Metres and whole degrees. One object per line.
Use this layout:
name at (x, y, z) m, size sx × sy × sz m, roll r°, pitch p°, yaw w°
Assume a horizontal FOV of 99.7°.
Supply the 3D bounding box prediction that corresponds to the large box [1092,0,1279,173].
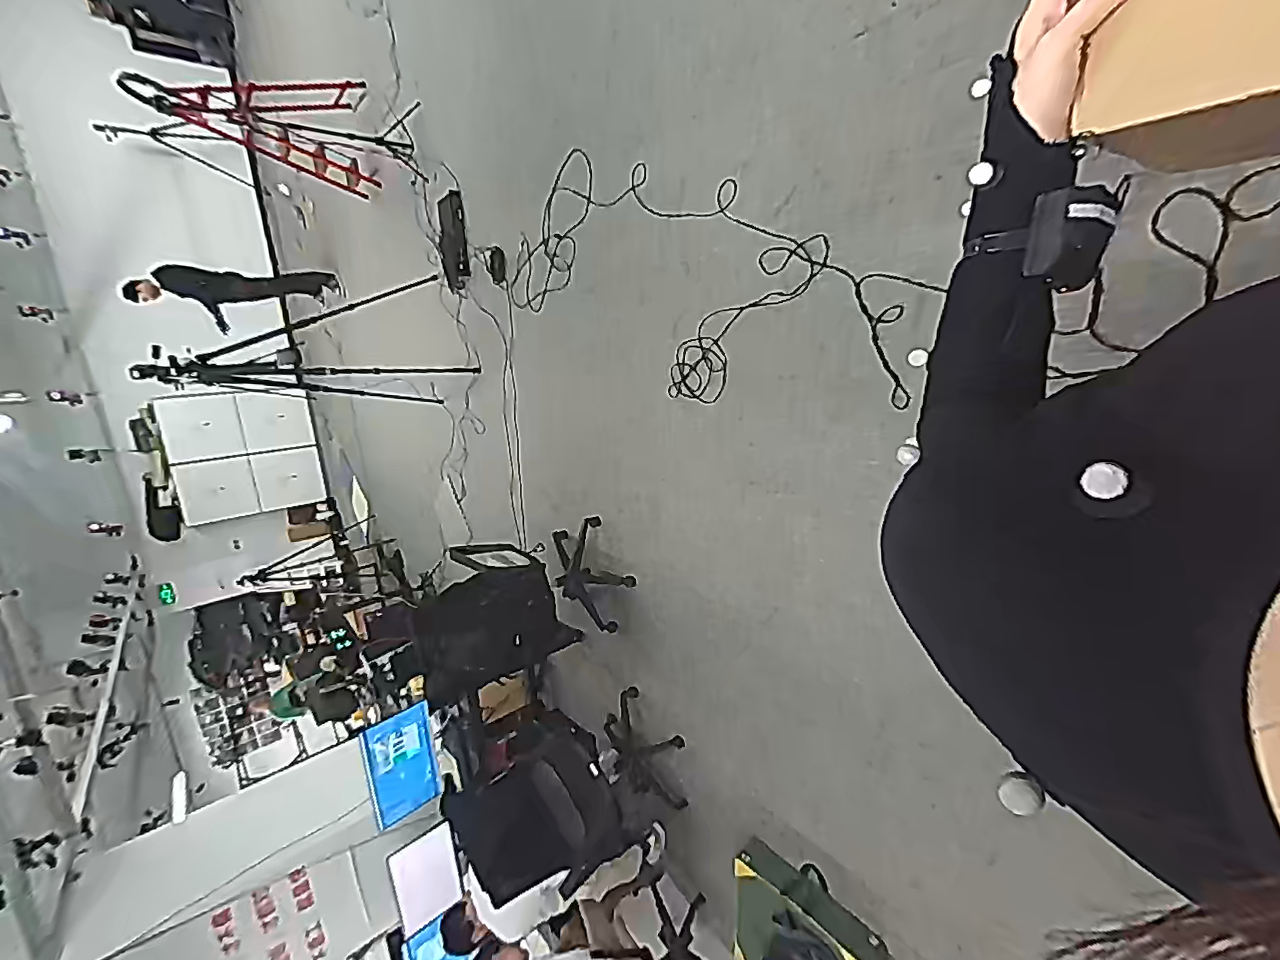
large box at (0.545, -0.402, 0.288) m, size 0.408 × 0.320 × 0.320 m, roll 13°, pitch 115°, yaw 49°
